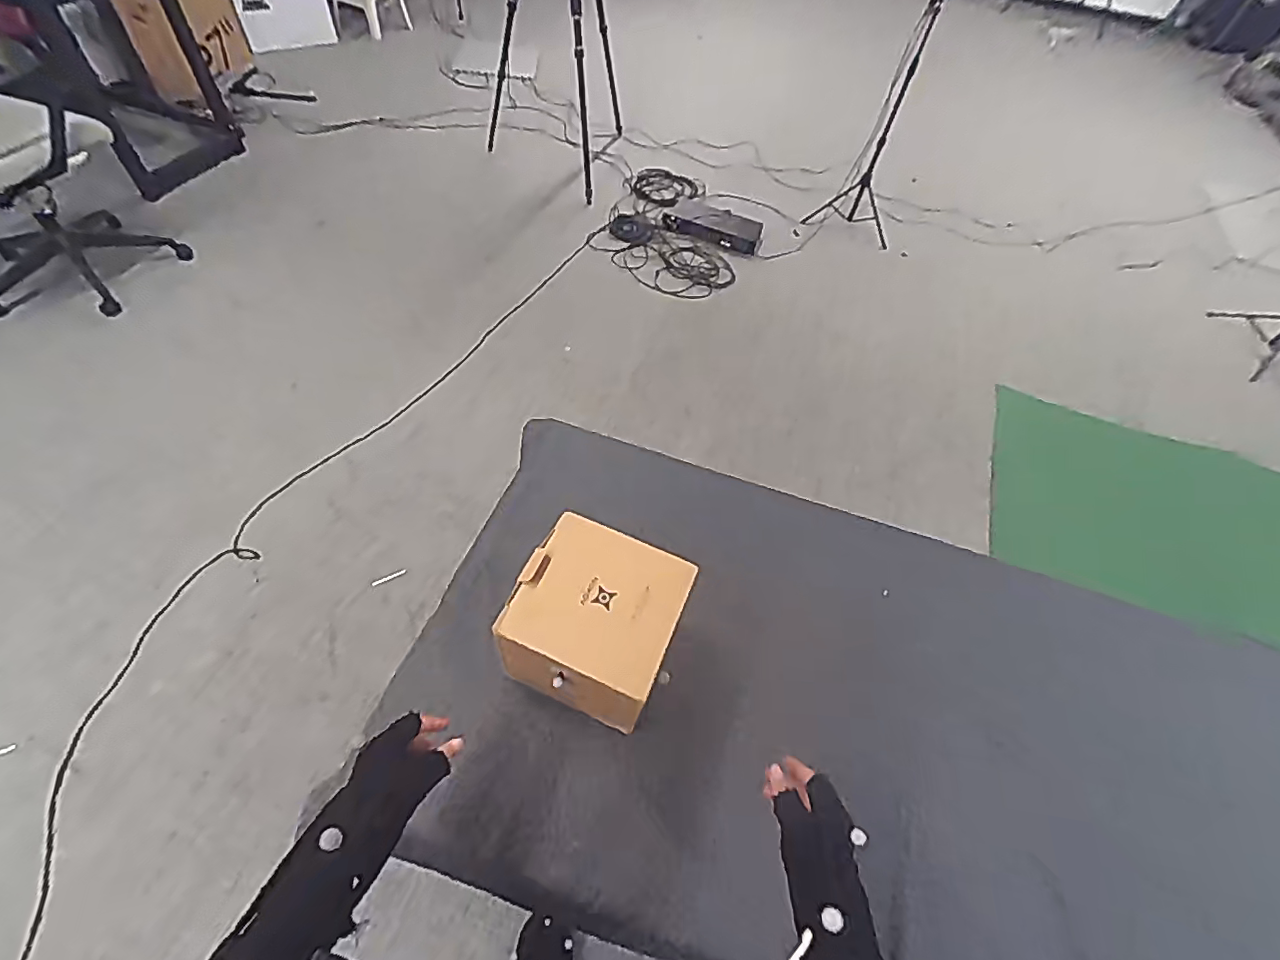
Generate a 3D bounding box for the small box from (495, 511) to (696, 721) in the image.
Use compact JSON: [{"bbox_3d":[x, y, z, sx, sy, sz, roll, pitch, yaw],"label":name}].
[{"bbox_3d":[-0.052,0.172,0.661,0.179,0.176,0.168,22,56,7],"label":"small box"}]
